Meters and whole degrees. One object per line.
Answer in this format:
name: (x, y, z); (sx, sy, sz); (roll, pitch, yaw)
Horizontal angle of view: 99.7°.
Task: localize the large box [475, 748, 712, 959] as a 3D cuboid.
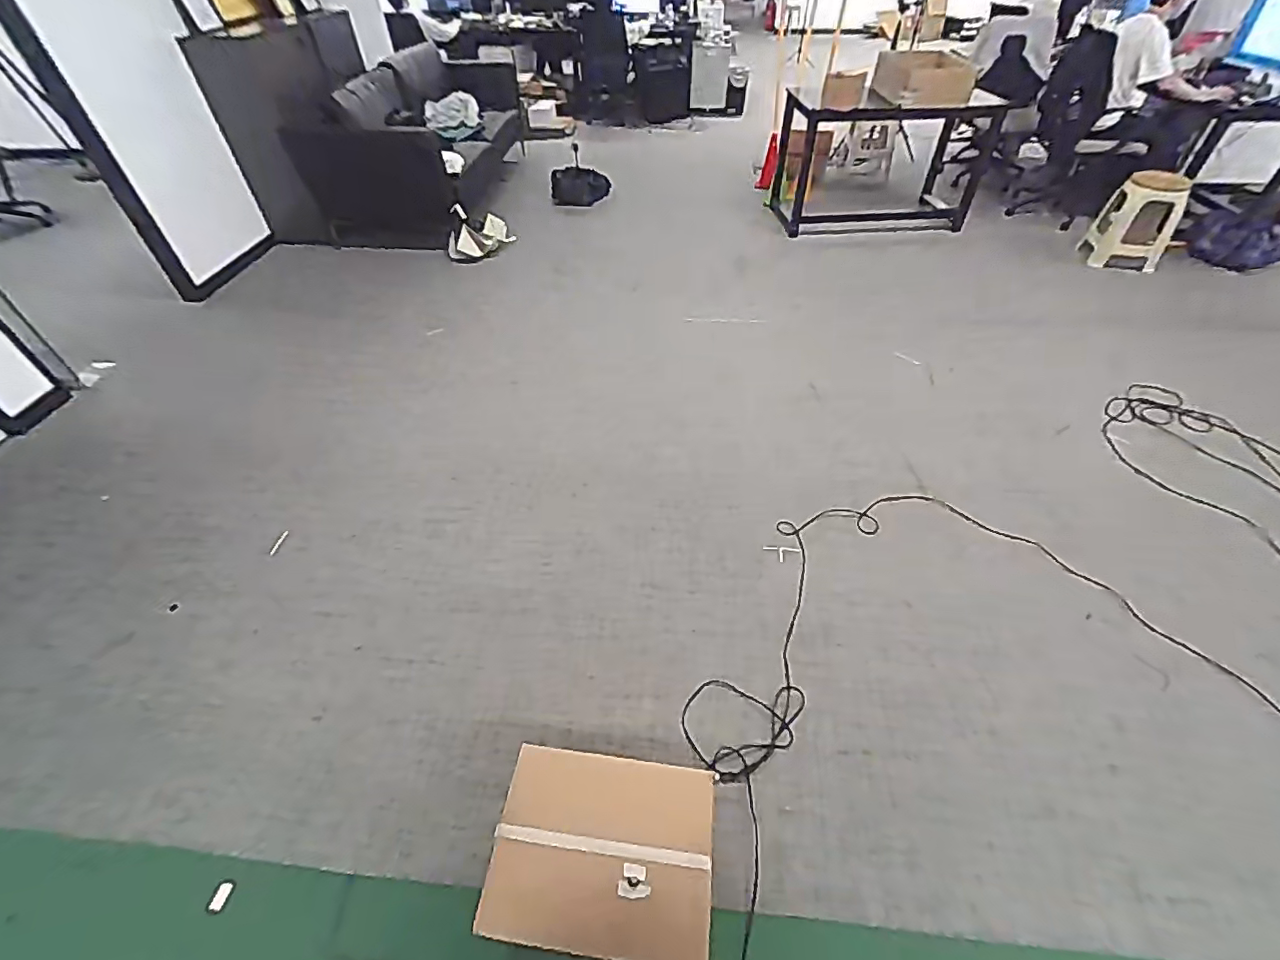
large box: (-0.071, 0.787, 1.115); (0.408, 0.320, 0.320); (6, 47, 5)
